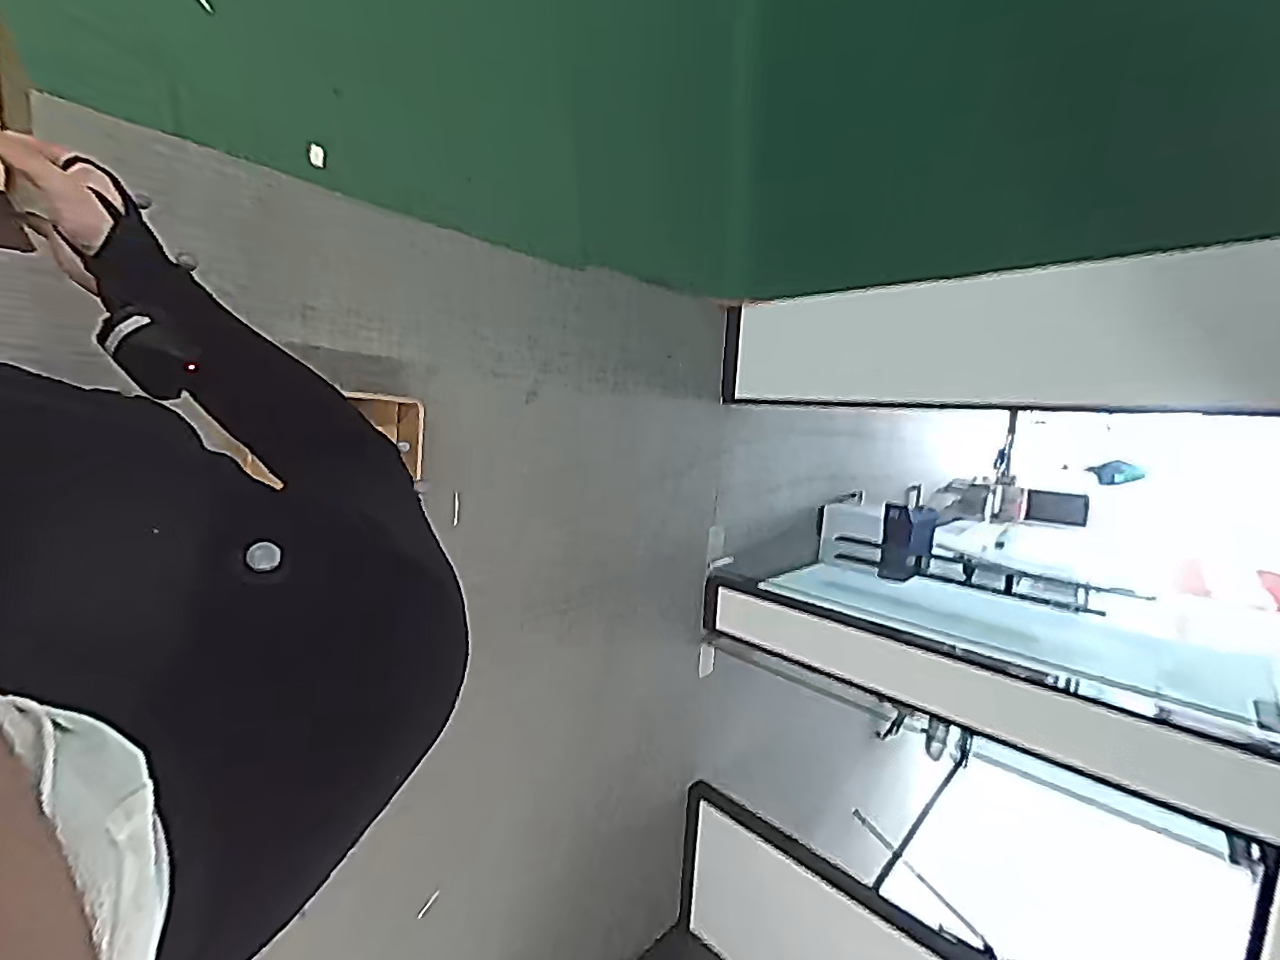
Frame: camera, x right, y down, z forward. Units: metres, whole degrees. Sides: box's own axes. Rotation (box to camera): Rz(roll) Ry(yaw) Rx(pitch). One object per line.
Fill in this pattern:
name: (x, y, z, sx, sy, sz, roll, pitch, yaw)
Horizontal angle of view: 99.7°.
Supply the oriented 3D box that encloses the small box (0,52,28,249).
small box: (-0.650, -0.319, 0.448, 0.168, 0.176, 0.179, -5, 94, -40)
